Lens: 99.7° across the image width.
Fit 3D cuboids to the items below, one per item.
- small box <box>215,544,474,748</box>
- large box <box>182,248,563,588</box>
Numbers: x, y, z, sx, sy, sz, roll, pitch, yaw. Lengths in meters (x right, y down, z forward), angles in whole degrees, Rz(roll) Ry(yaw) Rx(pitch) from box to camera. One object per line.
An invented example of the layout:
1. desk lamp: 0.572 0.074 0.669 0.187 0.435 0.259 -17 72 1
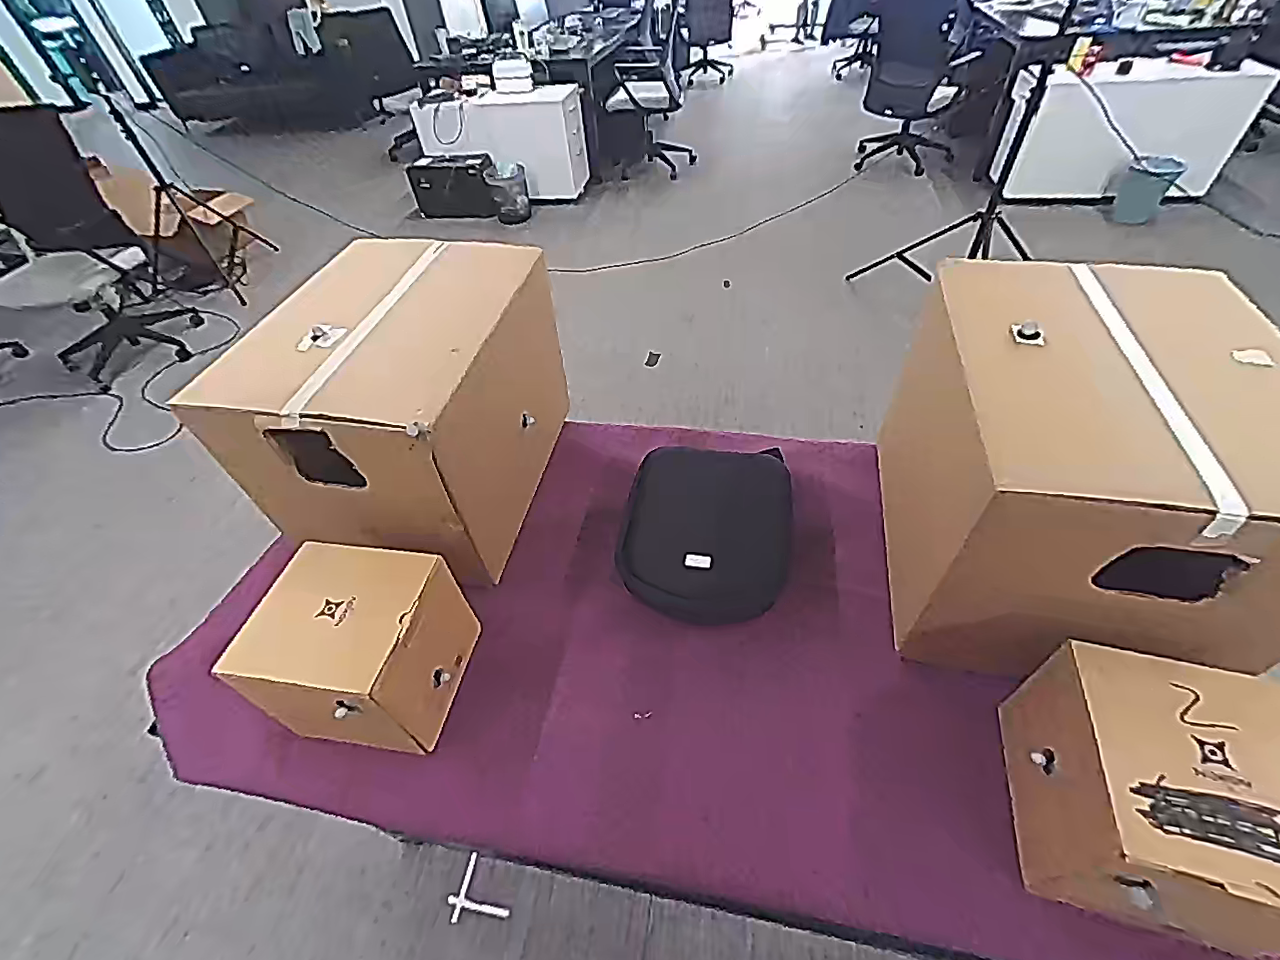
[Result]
1. small box: -0.321 0.195 0.633 0.179 0.176 0.168 4 46 8
2. large box: -0.324 -0.102 0.815 0.320 0.320 0.408 5 50 8
